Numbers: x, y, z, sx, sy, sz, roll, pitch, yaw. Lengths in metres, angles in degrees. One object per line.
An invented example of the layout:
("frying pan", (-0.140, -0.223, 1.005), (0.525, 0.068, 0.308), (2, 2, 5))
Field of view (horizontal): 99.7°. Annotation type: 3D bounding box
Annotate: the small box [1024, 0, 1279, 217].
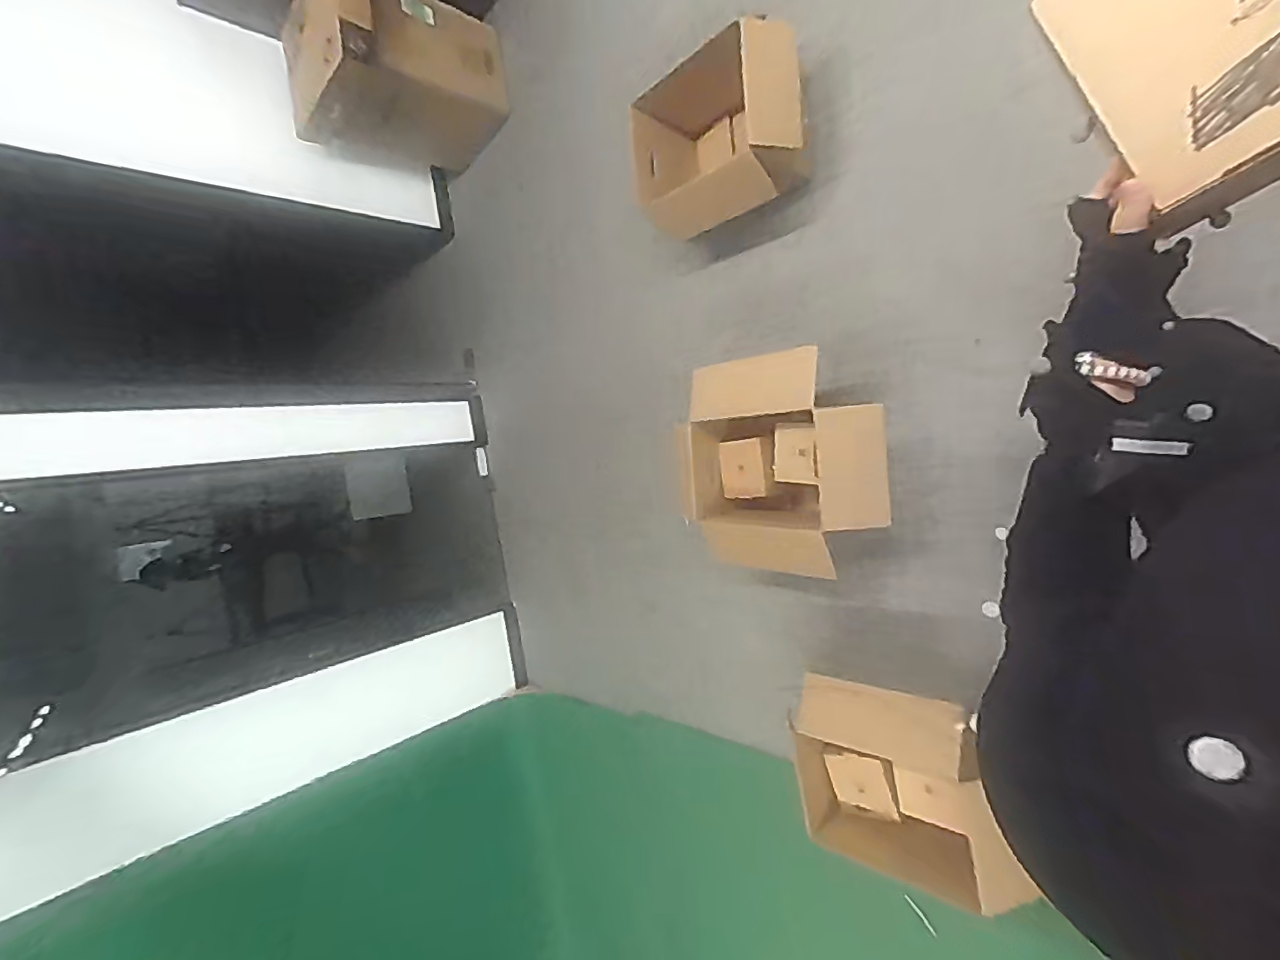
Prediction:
("small box", (0.411, -0.308, 0.373), (0.168, 0.176, 0.179), (-31, 78, 45))
